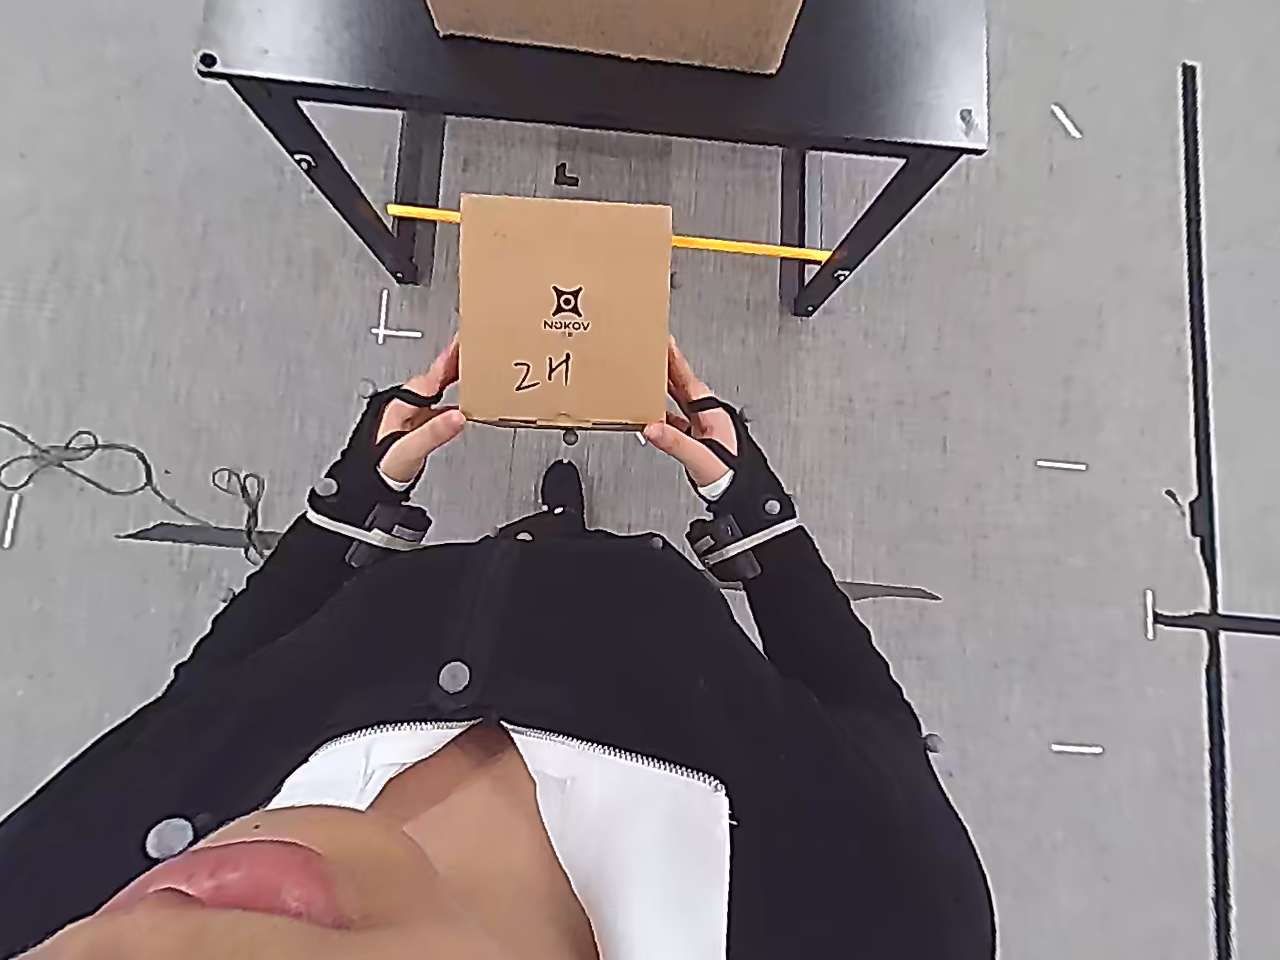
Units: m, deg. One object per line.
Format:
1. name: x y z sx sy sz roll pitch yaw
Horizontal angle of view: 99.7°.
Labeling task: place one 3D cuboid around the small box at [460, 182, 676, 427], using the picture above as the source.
1. small box: -0.062 -0.144 0.504 0.168 0.176 0.179 2 93 -4
